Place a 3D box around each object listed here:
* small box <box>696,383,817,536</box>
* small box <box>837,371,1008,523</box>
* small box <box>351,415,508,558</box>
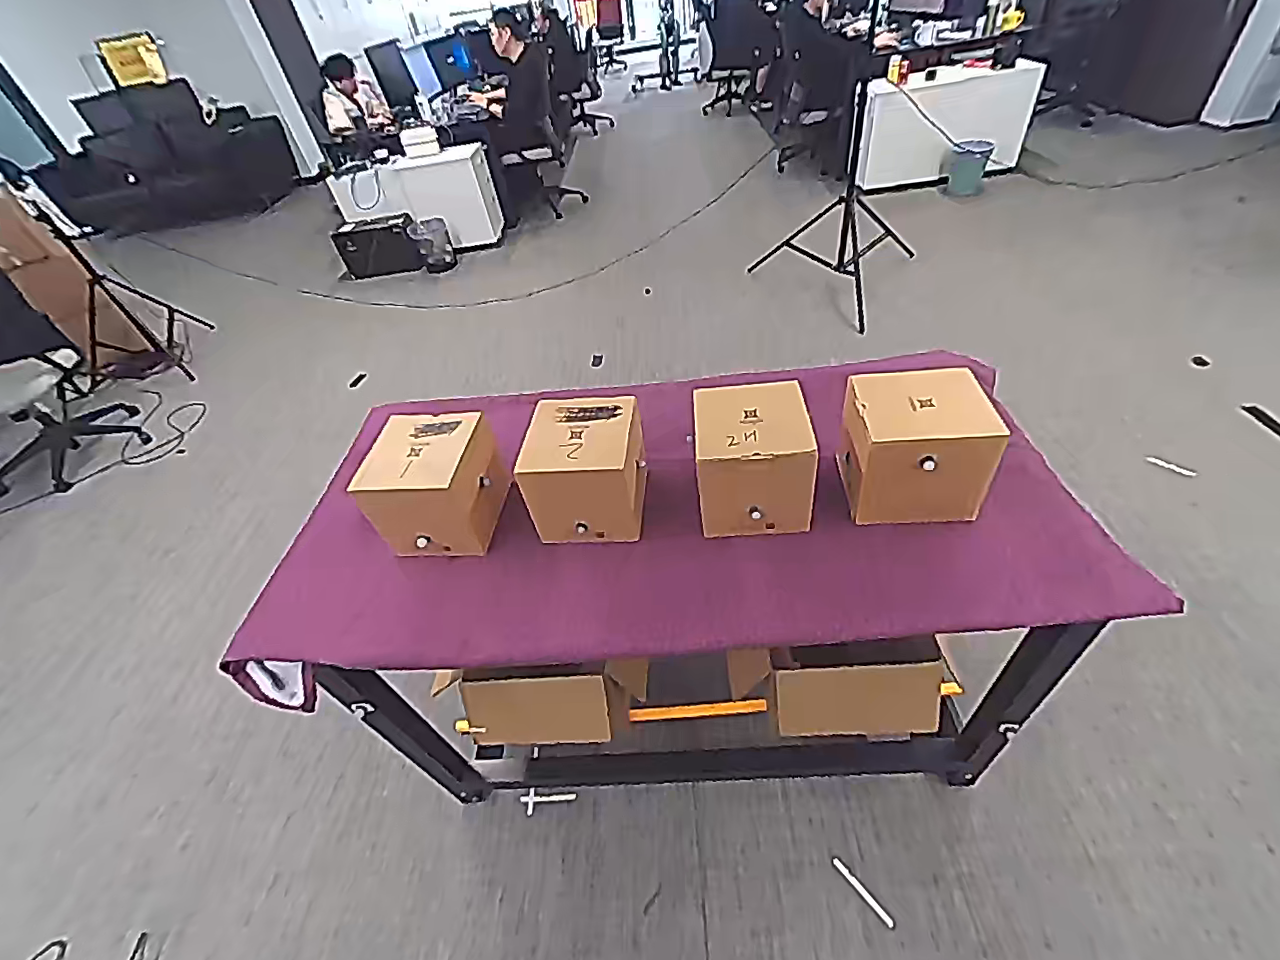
[{"bbox_3d":[0.174,-0.032,0.855,0.168,0.176,0.179,-4,43,8],"label":"small box"},{"bbox_3d":[0.413,-0.047,0.827,0.179,0.176,0.168,-3,43,9],"label":"small box"},{"bbox_3d":[-0.334,0.011,0.905,0.168,0.176,0.179,-1,46,9],"label":"small box"}]
